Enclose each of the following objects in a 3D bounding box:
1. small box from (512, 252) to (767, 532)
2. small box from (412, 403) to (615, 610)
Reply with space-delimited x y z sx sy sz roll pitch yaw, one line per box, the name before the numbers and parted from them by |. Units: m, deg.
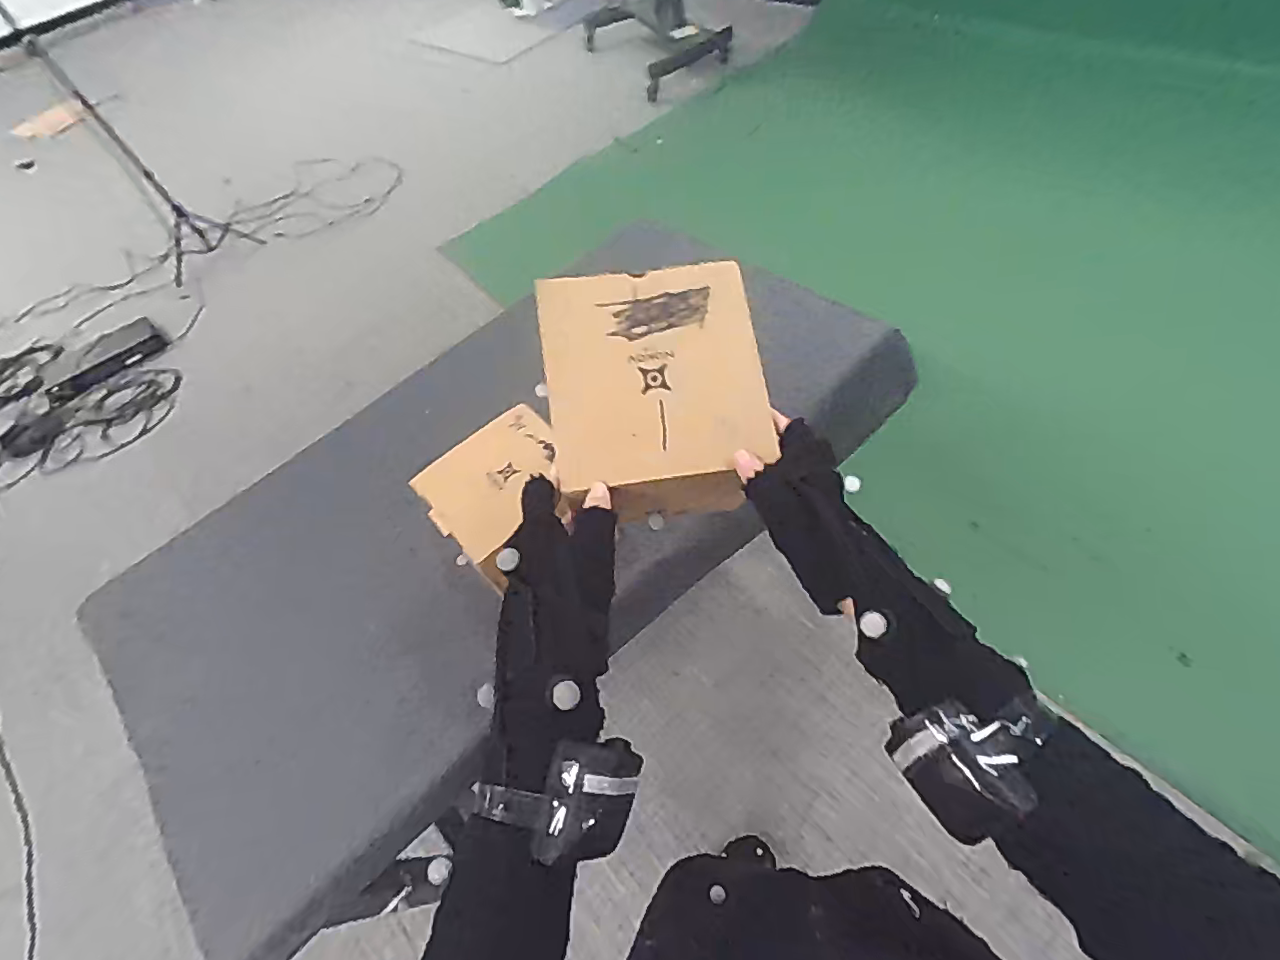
small box | -0.007 -0.067 0.487 0.168 0.176 0.179 -13 74 -5
small box | -0.156 0.040 0.714 0.179 0.176 0.168 -39 59 -15
